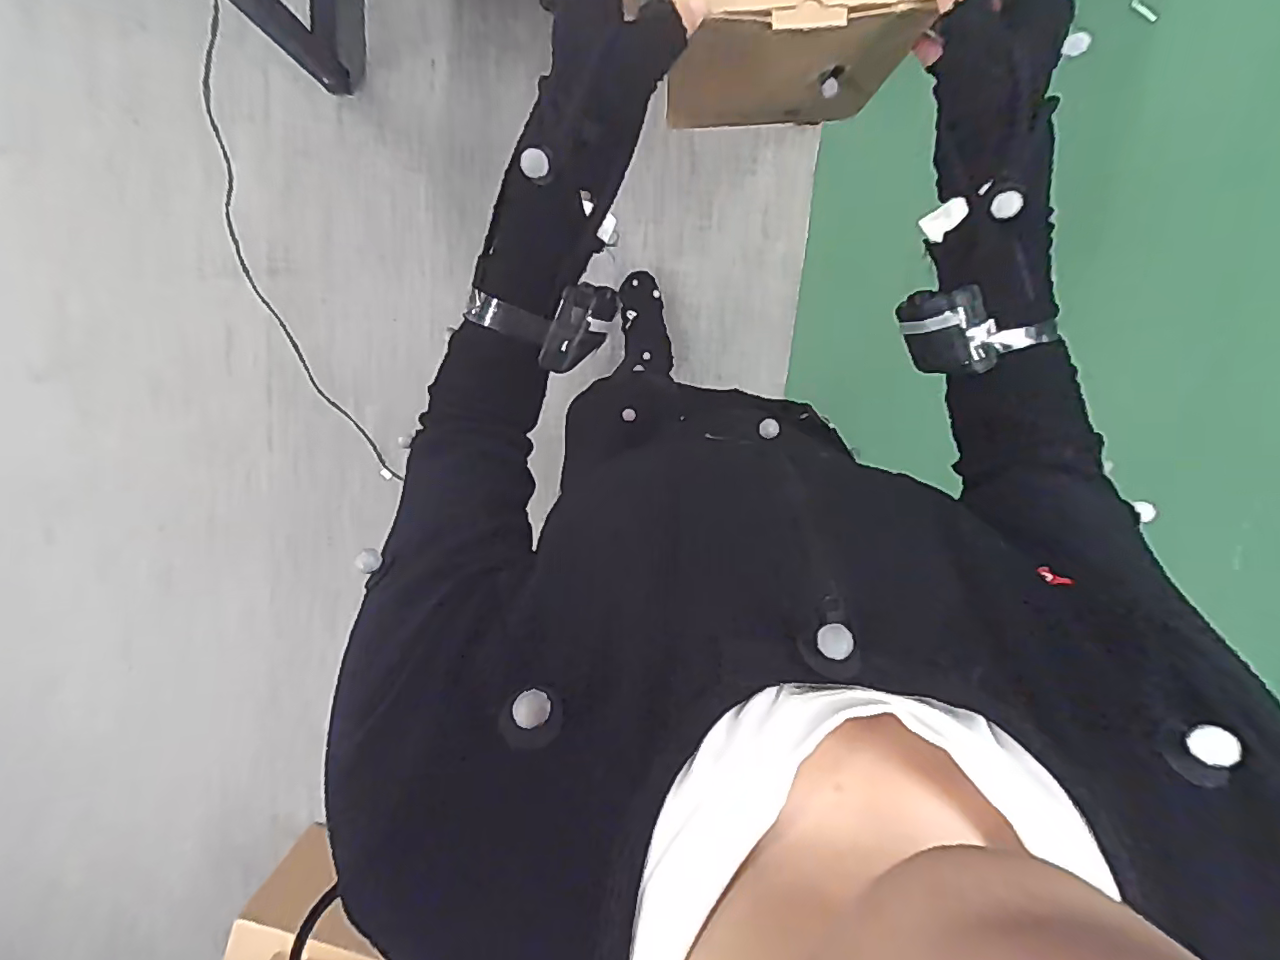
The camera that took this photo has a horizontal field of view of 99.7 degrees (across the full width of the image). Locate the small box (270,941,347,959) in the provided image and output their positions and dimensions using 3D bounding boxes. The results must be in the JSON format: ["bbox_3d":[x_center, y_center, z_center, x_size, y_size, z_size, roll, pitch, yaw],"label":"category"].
[{"bbox_3d":[-0.831,1.254,1.287,0.179,0.176,0.168,13,99,-1],"label":"small box"}]
